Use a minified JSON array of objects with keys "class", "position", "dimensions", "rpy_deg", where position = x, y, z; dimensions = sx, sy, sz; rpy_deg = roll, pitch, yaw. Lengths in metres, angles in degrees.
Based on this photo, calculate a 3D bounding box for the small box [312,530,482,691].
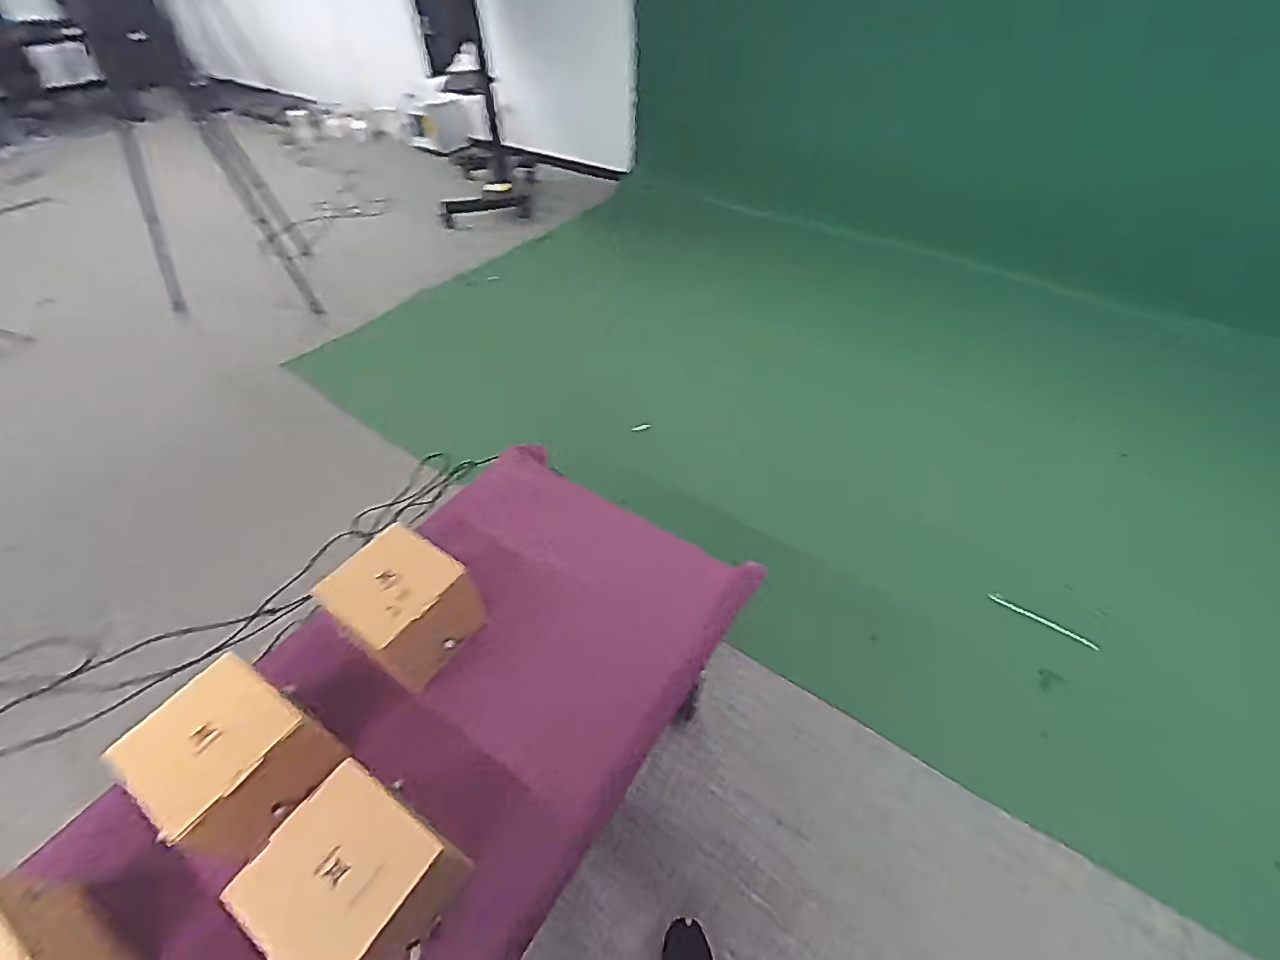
[{"class":"small box","position":[-0.398,0.223,0.913],"dimensions":[0.179,0.176,0.168],"rpy_deg":[26,54,23]}]

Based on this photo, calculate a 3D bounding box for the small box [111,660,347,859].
[{"class":"small box","position":[-0.561,0.396,0.761],"dimensions":[0.179,0.176,0.168],"rpy_deg":[25,53,21]}]

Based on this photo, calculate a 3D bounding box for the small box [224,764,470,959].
[{"class":"small box","position":[-0.342,0.495,0.663],"dimensions":[0.179,0.176,0.168],"rpy_deg":[25,53,23]}]
